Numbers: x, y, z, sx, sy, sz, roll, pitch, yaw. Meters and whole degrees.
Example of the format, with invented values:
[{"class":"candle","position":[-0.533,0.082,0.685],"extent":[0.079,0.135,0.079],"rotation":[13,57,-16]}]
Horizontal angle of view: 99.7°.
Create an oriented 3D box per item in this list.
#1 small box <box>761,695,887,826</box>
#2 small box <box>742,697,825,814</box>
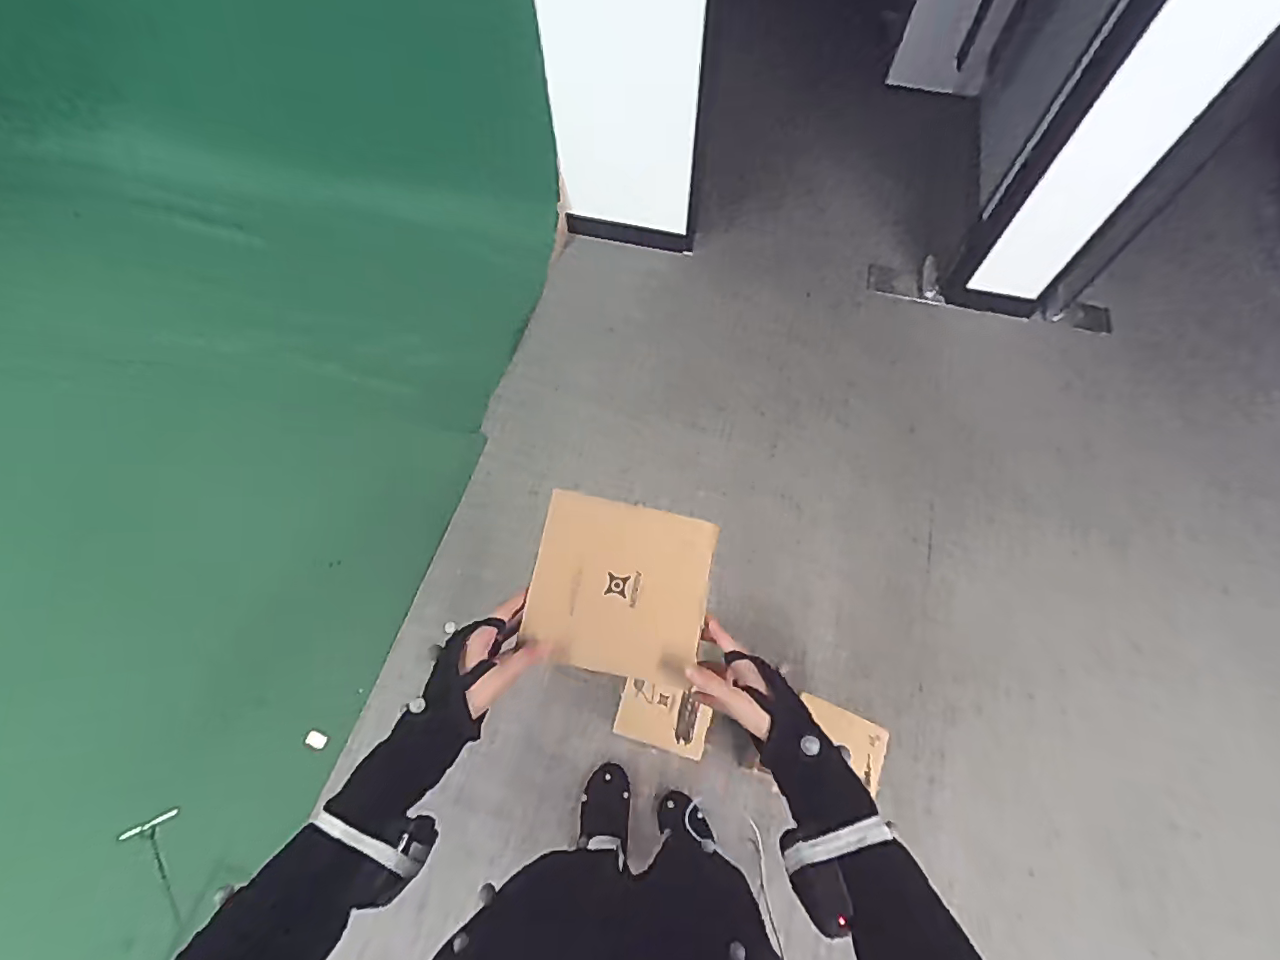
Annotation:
[{"class":"small box","position":[0.354,0.551,1.069],"extent":[0.179,0.176,0.168],"rotation":[22,66,12]},{"class":"small box","position":[0.342,0.615,1.221],"extent":[0.168,0.176,0.179],"rotation":[23,66,12]}]
